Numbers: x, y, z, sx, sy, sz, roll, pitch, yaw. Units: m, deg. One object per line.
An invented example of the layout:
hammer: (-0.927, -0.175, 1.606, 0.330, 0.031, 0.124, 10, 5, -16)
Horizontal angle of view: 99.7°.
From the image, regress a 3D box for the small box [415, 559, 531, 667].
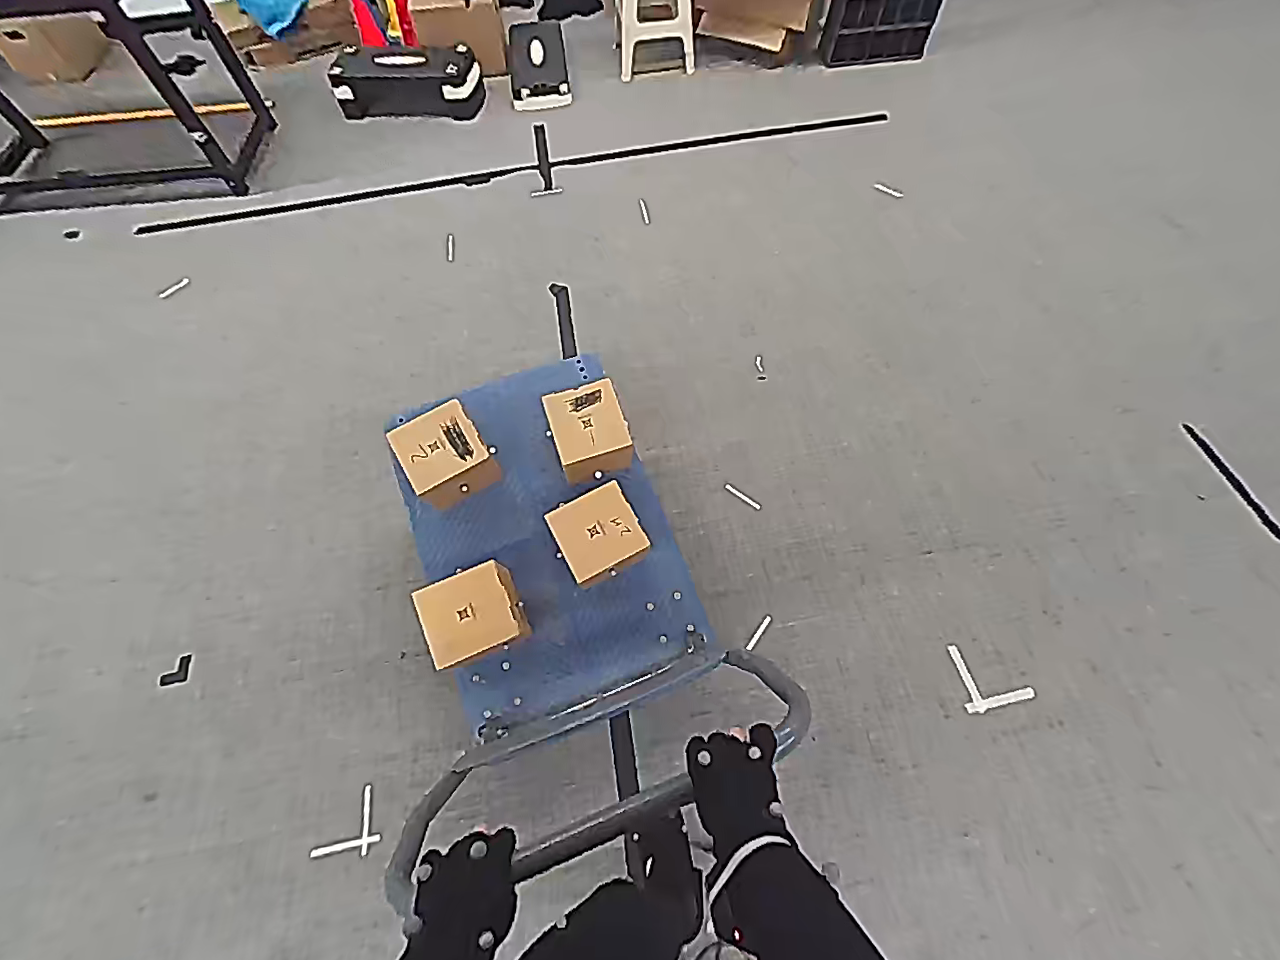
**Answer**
small box: (-0.352, 0.290, 1.166, 0.179, 0.176, 0.168, -22, 75, -11)

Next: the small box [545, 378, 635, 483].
small box: (-0.119, -0.113, 1.294, 0.168, 0.176, 0.179, -18, 76, -7)

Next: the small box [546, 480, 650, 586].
small box: (-0.090, 0.128, 1.223, 0.179, 0.176, 0.168, -27, 77, -9)
